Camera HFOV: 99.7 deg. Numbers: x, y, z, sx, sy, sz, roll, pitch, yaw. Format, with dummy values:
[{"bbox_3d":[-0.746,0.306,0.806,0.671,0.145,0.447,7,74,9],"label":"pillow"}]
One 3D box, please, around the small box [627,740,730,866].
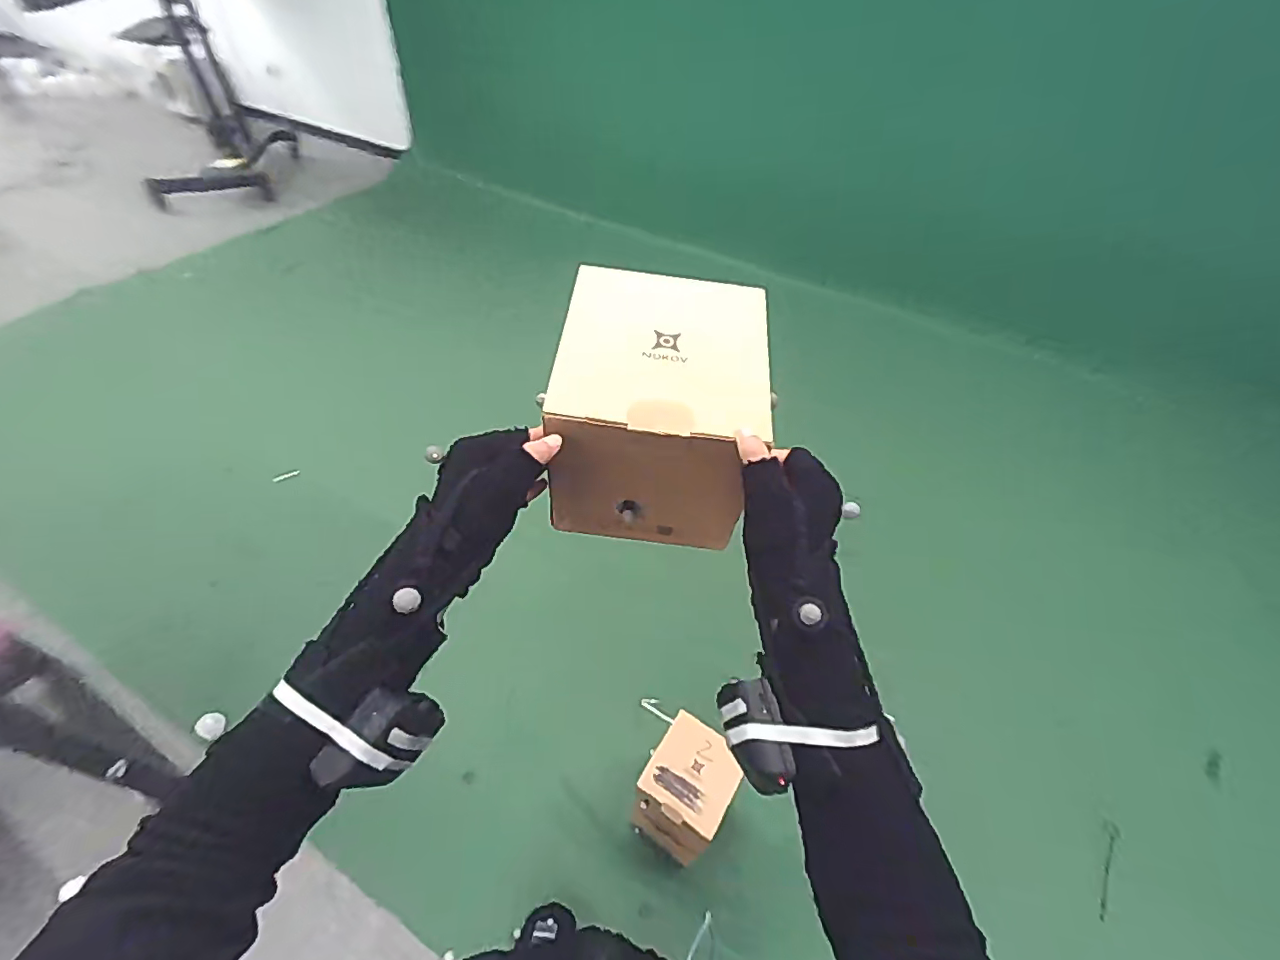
[{"bbox_3d":[0.084,0.734,1.223,0.168,0.176,0.179,26,53,18],"label":"small box"}]
